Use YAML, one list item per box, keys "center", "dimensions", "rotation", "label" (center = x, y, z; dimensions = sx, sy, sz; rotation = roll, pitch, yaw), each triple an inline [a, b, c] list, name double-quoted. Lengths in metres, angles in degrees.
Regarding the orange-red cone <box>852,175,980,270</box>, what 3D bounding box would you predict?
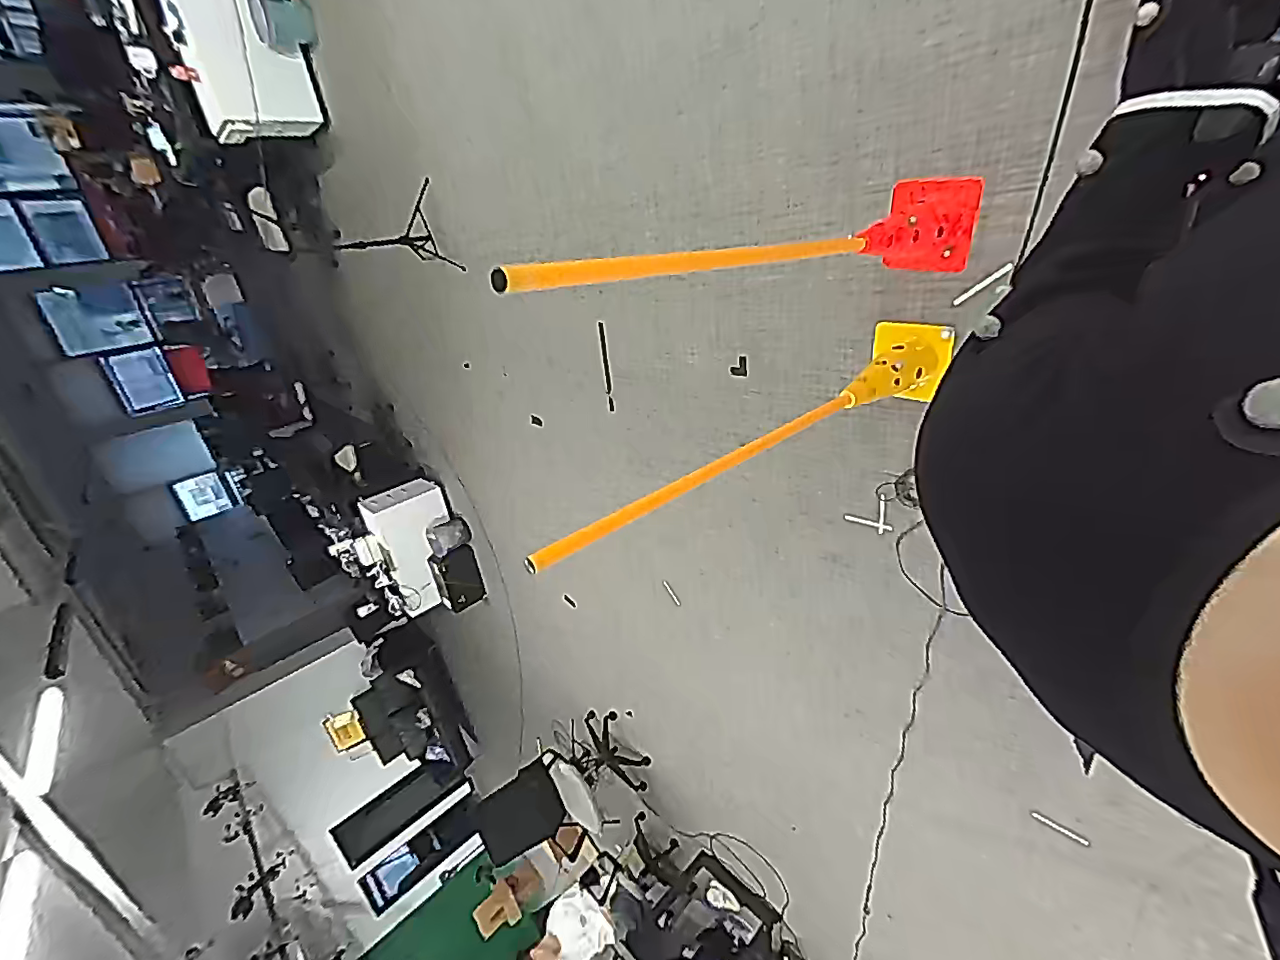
- center: [0.559, -0.548, 1.179]
  dimensions: [0.198, 0.360, 0.199]
  rotation: [25, 129, 38]
  label: "orange-red cone"
